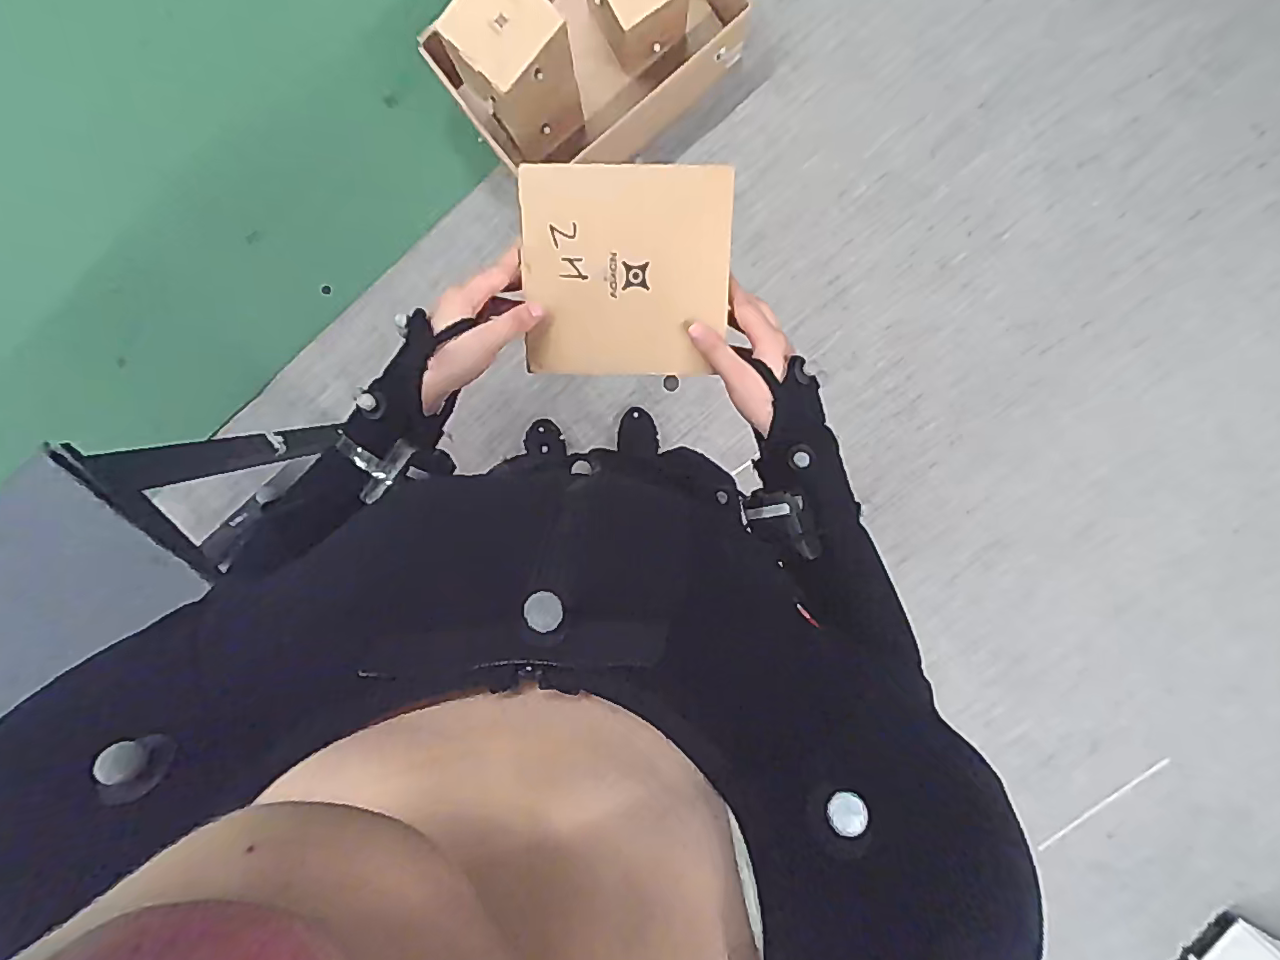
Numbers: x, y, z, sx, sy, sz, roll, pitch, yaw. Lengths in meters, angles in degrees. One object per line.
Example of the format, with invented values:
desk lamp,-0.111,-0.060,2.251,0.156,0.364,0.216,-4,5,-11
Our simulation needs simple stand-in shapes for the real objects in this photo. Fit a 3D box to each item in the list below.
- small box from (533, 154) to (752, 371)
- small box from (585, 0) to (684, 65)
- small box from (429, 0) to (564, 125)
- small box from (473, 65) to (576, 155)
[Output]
small box,-0.001,-0.197,0.522,0.179,0.176,0.168,0,105,0
small box,-0.019,-1.058,1.162,0.168,0.176,0.179,-31,101,5
small box,-0.259,-0.832,1.031,0.168,0.176,0.179,42,95,-9
small box,-0.259,-0.864,1.192,0.179,0.176,0.168,-37,100,6
